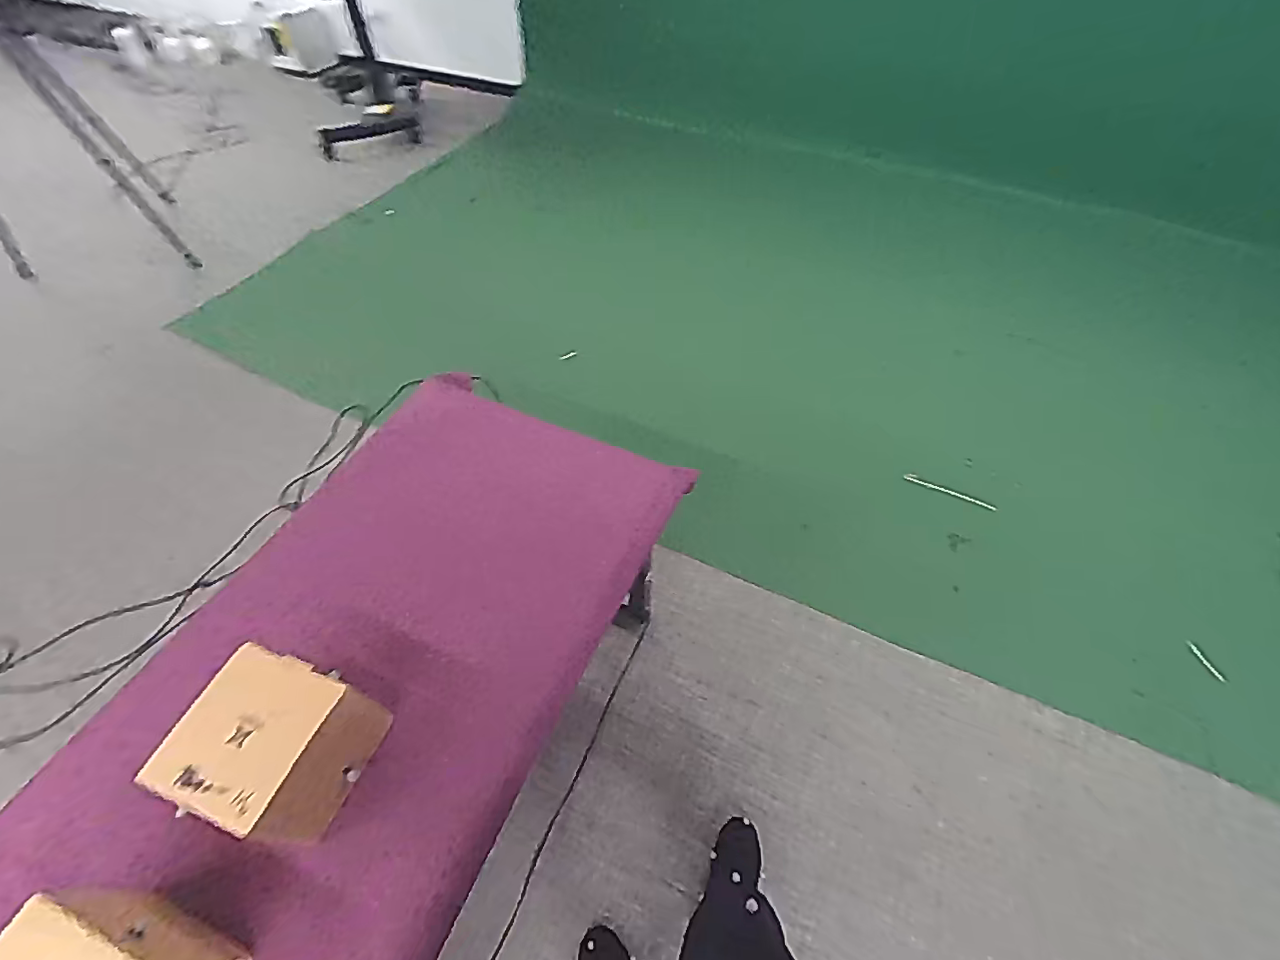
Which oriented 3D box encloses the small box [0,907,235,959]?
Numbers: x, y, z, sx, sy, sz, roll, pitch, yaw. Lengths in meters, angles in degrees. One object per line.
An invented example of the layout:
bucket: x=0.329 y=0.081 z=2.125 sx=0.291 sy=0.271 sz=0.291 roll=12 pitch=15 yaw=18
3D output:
small box: x=-0.575 y=0.569 z=0.556 sx=0.179 sy=0.176 sz=0.168 roll=17 pitch=55 yaw=13

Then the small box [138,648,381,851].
small box: x=-0.475 y=0.358 z=0.715 sx=0.168 sy=0.176 sz=0.179 roll=17 pitch=54 yaw=12
